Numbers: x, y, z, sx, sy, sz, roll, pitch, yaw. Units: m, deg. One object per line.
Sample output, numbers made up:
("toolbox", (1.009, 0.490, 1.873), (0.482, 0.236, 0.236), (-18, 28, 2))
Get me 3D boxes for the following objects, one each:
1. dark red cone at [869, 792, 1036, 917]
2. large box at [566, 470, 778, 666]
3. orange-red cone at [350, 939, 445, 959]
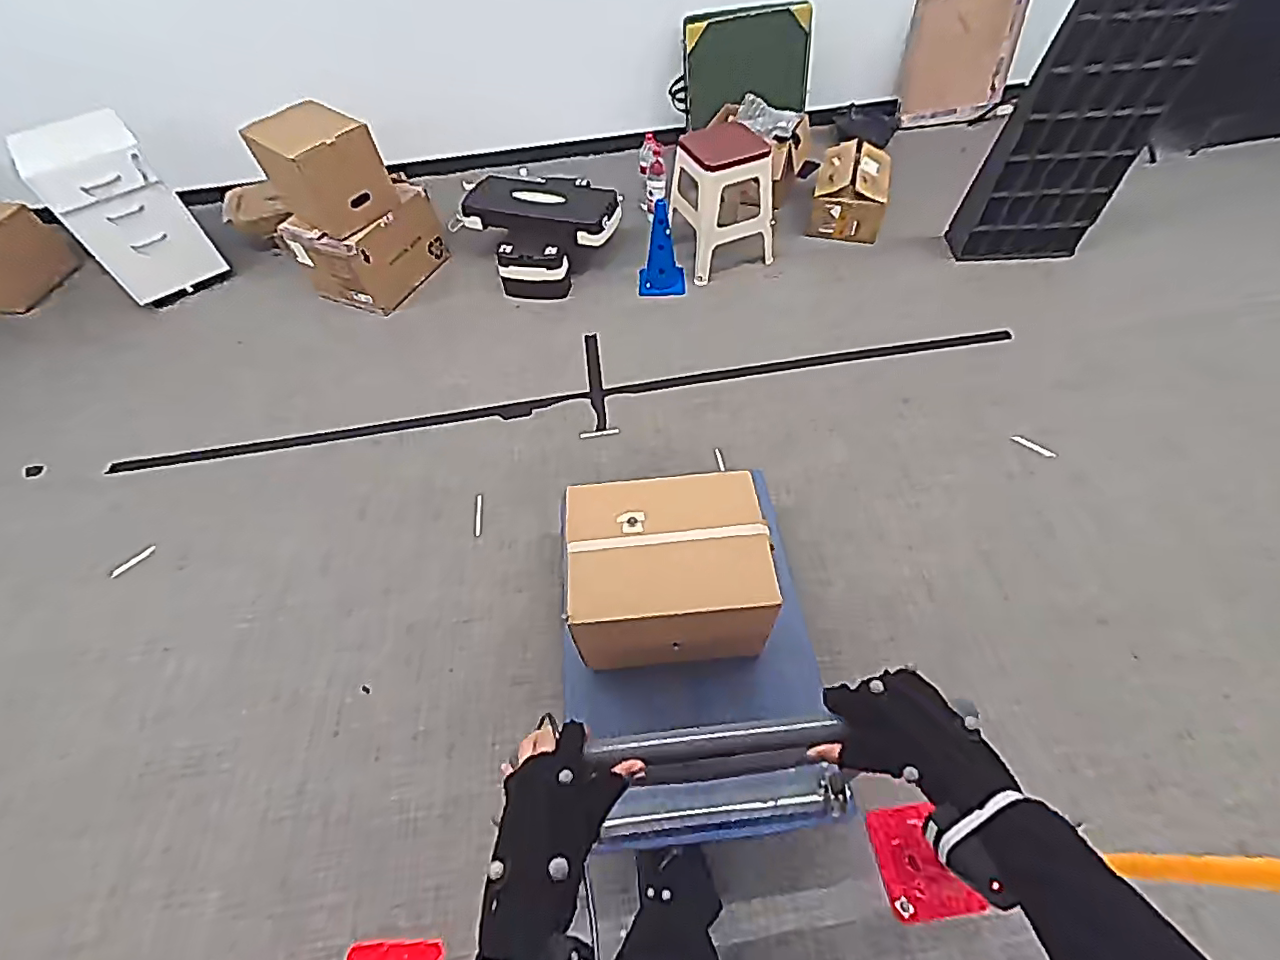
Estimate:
("dark red cone", (0.601, 0.686, 1.000), (0.201, 0.394, 0.202), (-7, 55, -4))
("large box", (0.060, 0.208, 1.219), (0.408, 0.320, 0.320), (-6, 55, 0))
("orange-red cone", (-0.504, 0.931, 0.926), (0.198, 0.360, 0.199), (-2, 53, 2))
